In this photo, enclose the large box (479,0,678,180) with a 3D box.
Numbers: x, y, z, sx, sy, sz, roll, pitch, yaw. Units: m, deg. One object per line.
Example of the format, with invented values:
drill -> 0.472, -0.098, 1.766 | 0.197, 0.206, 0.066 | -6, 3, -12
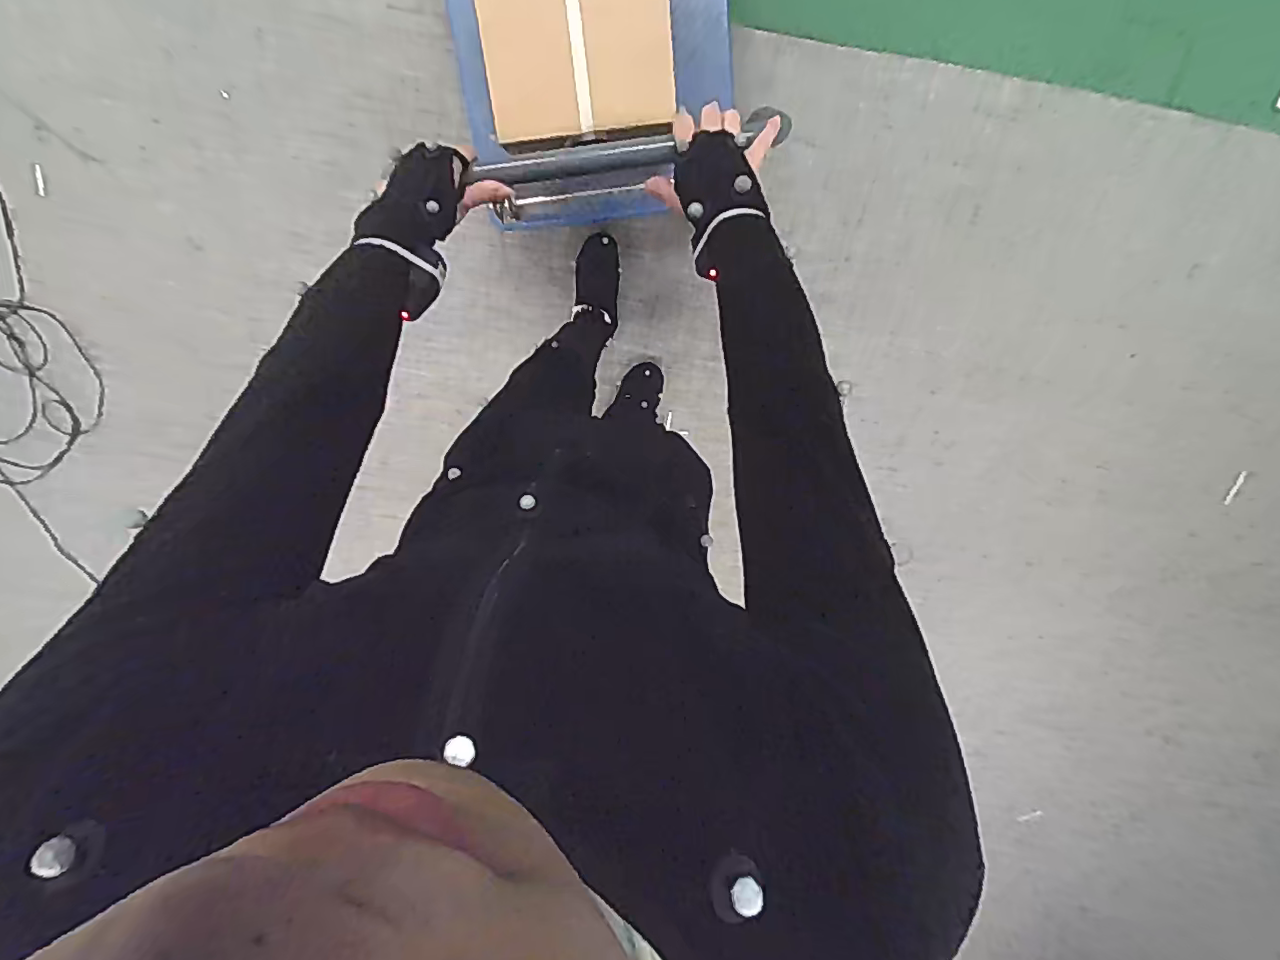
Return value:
large box -> -0.105, -0.837, 1.020 | 0.320, 0.320, 0.408 | -5, 108, 3
